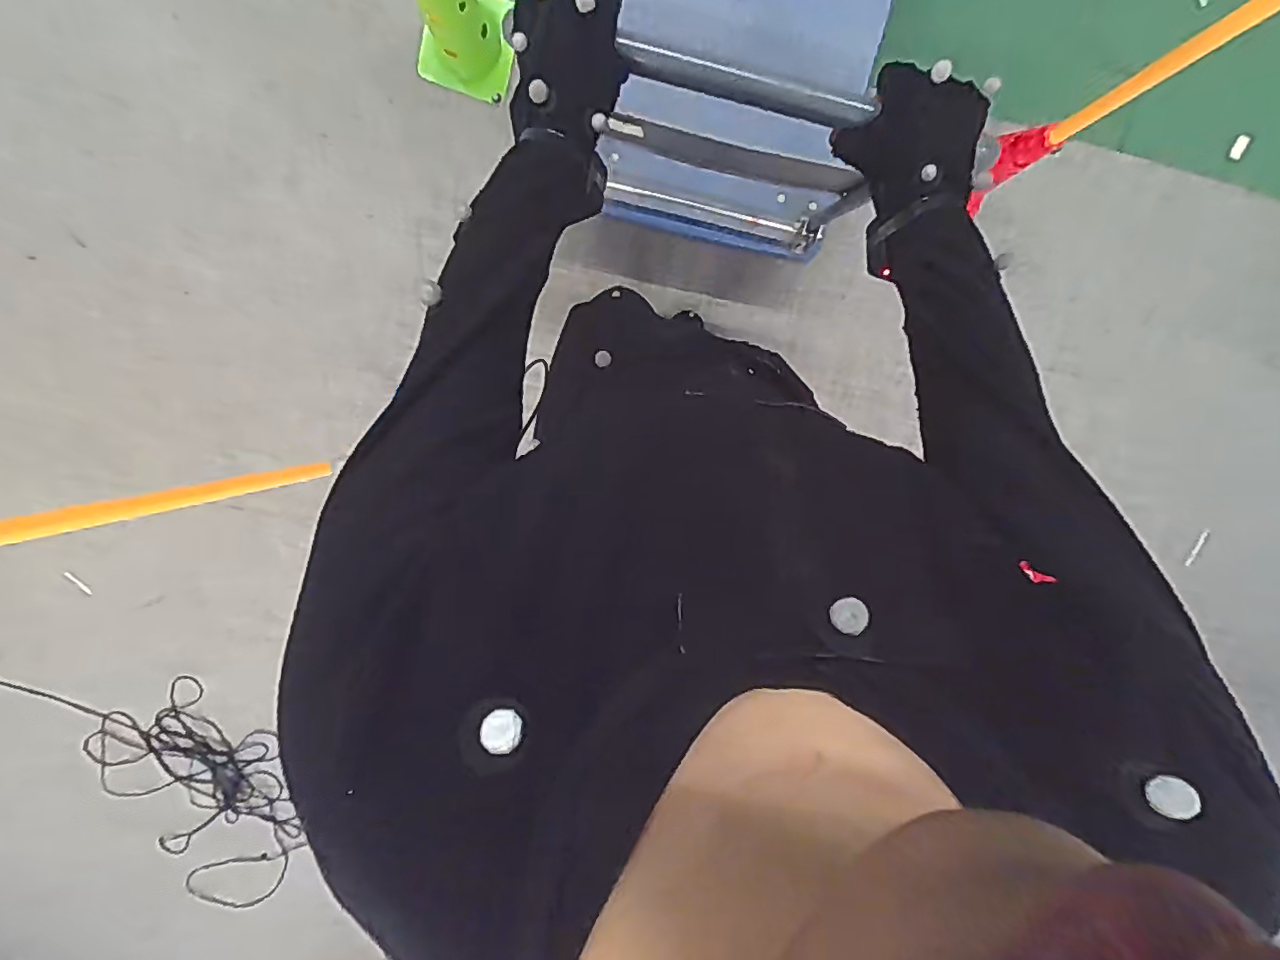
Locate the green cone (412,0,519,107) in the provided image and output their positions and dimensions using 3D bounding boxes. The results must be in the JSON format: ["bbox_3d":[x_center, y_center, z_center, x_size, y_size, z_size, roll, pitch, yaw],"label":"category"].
[{"bbox_3d":[-0.383,-0.918,1.037,0.202,0.368,0.200,17,105,-4],"label":"green cone"}]
